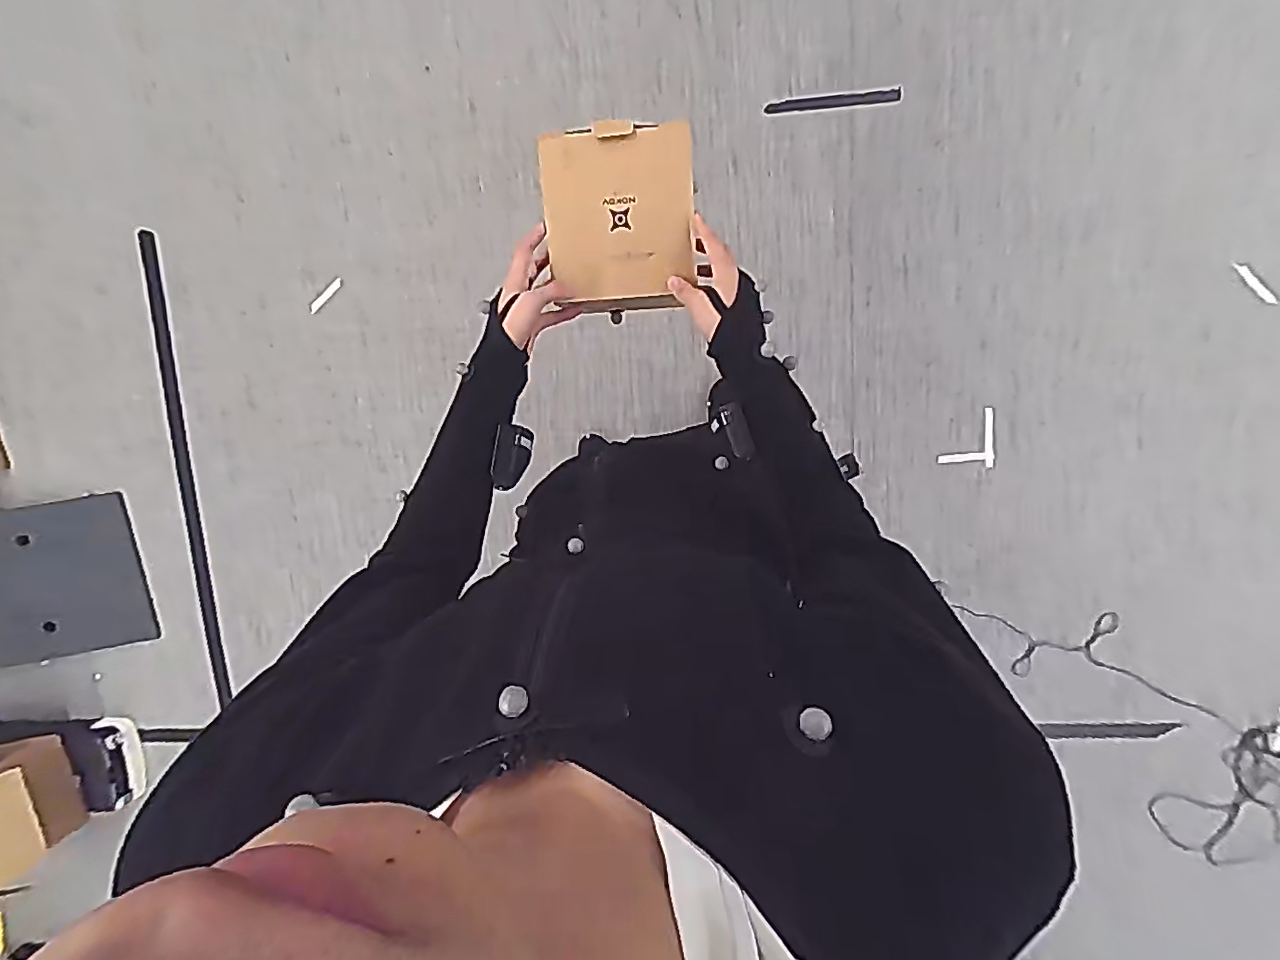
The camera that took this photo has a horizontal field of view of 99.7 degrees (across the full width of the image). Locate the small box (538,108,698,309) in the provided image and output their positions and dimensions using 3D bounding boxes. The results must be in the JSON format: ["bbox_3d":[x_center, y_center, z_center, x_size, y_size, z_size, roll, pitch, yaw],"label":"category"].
[{"bbox_3d":[-0.023,-0.312,0.656,0.168,0.176,0.179,-4,101,1],"label":"small box"}]
